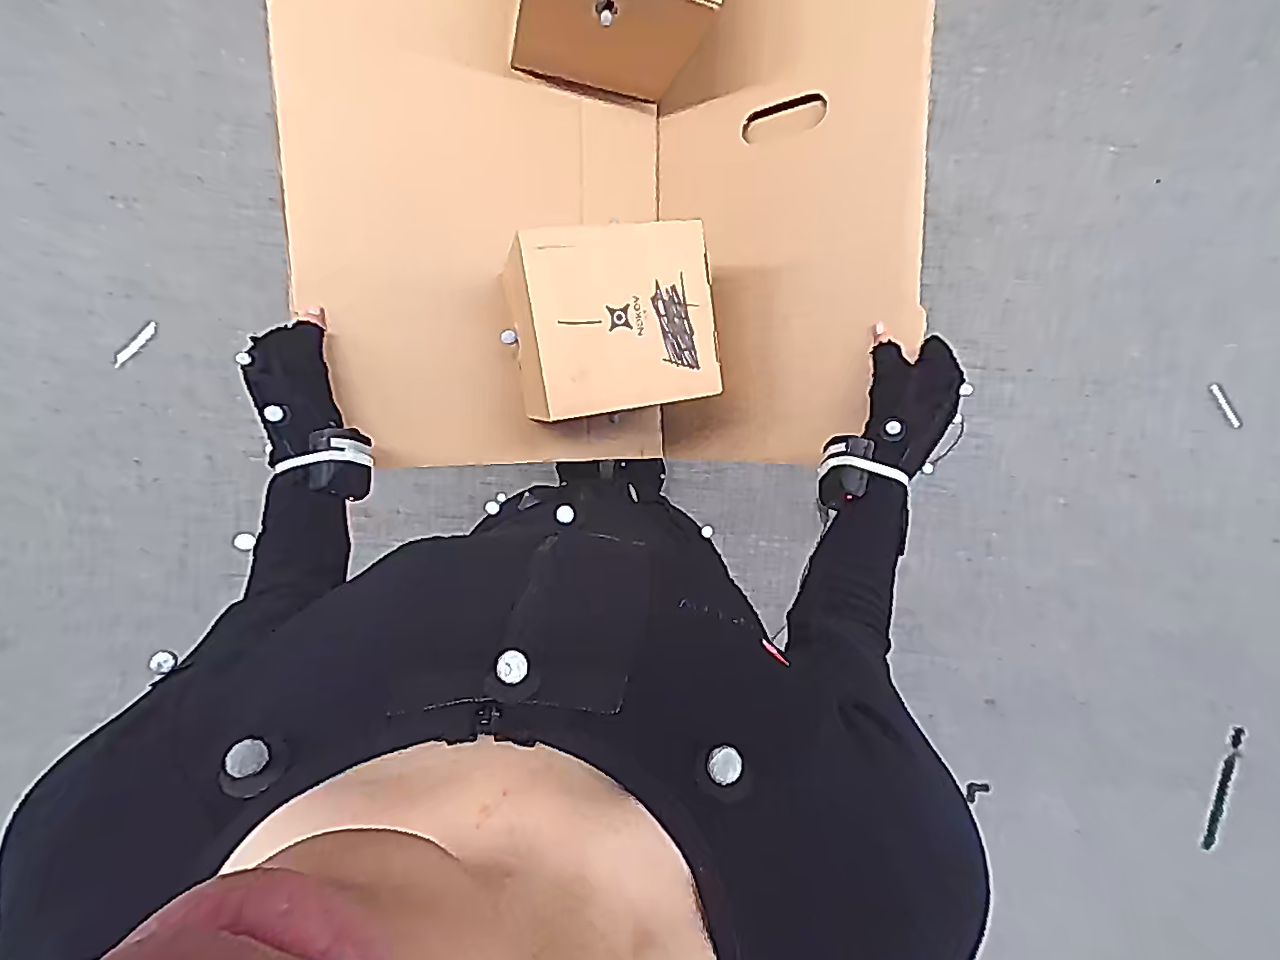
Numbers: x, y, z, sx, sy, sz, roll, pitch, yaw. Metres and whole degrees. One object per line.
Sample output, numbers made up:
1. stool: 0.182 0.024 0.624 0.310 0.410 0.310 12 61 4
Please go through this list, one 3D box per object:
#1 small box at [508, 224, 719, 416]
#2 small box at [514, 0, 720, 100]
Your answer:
1. small box: -0.036 -0.164 0.584 0.179 0.176 0.168 -11 101 -17
2. small box: -0.029 -0.521 0.539 0.179 0.176 0.168 1 97 -20
